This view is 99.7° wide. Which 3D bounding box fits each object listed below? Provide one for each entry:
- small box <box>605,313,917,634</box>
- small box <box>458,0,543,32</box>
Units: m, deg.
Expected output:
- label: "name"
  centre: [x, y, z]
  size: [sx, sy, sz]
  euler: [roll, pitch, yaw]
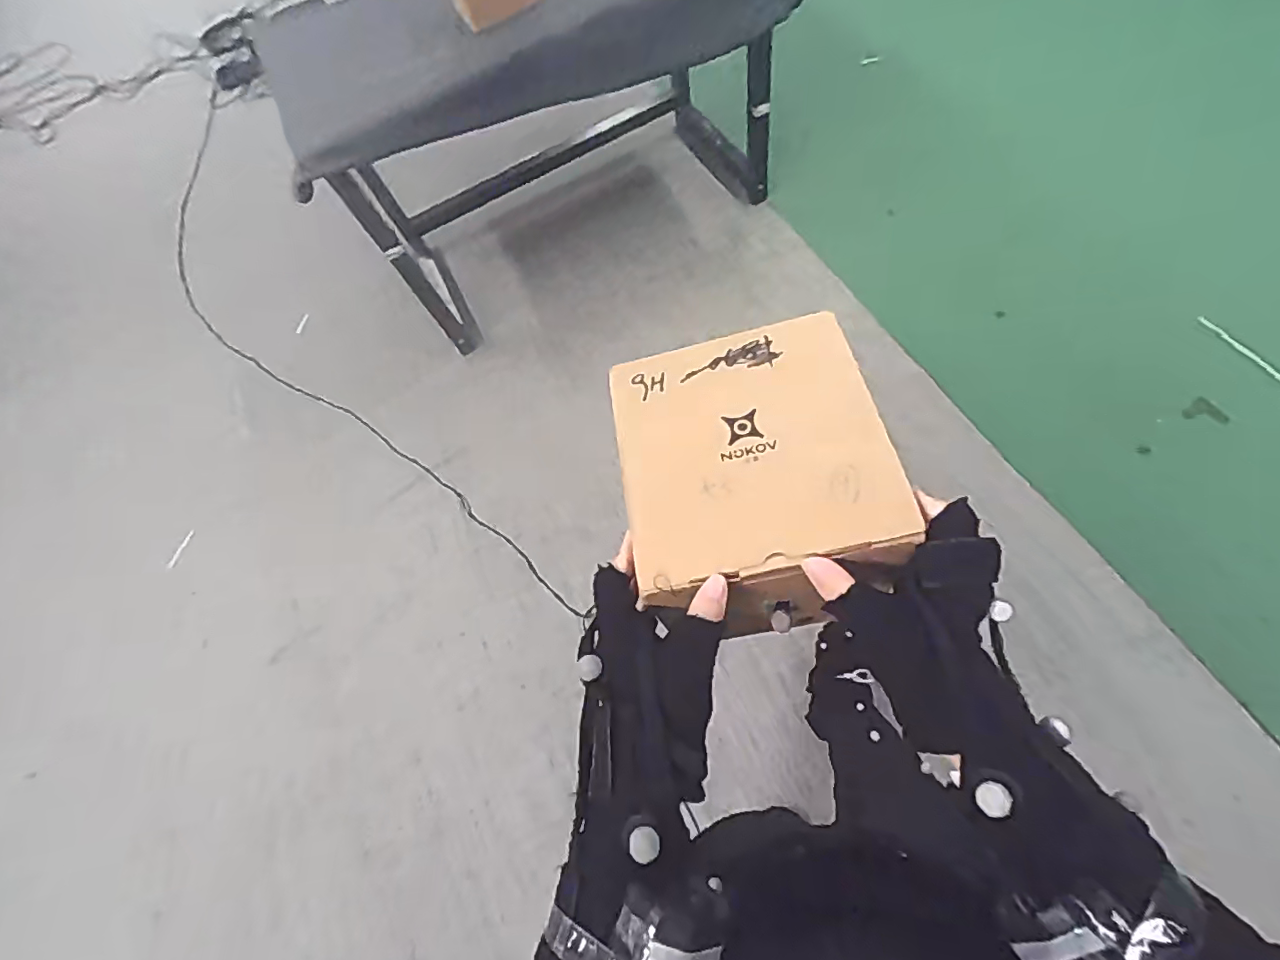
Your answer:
- label: "small box"
  centre: [0.082, 0.012, 0.414]
  size: [0.168, 0.176, 0.179]
  euler: [-13, 62, 7]
- label: "small box"
  centre: [-0.338, -1.149, 1.200]
  size: [0.179, 0.176, 0.168]
  euler: [-28, 65, -3]
